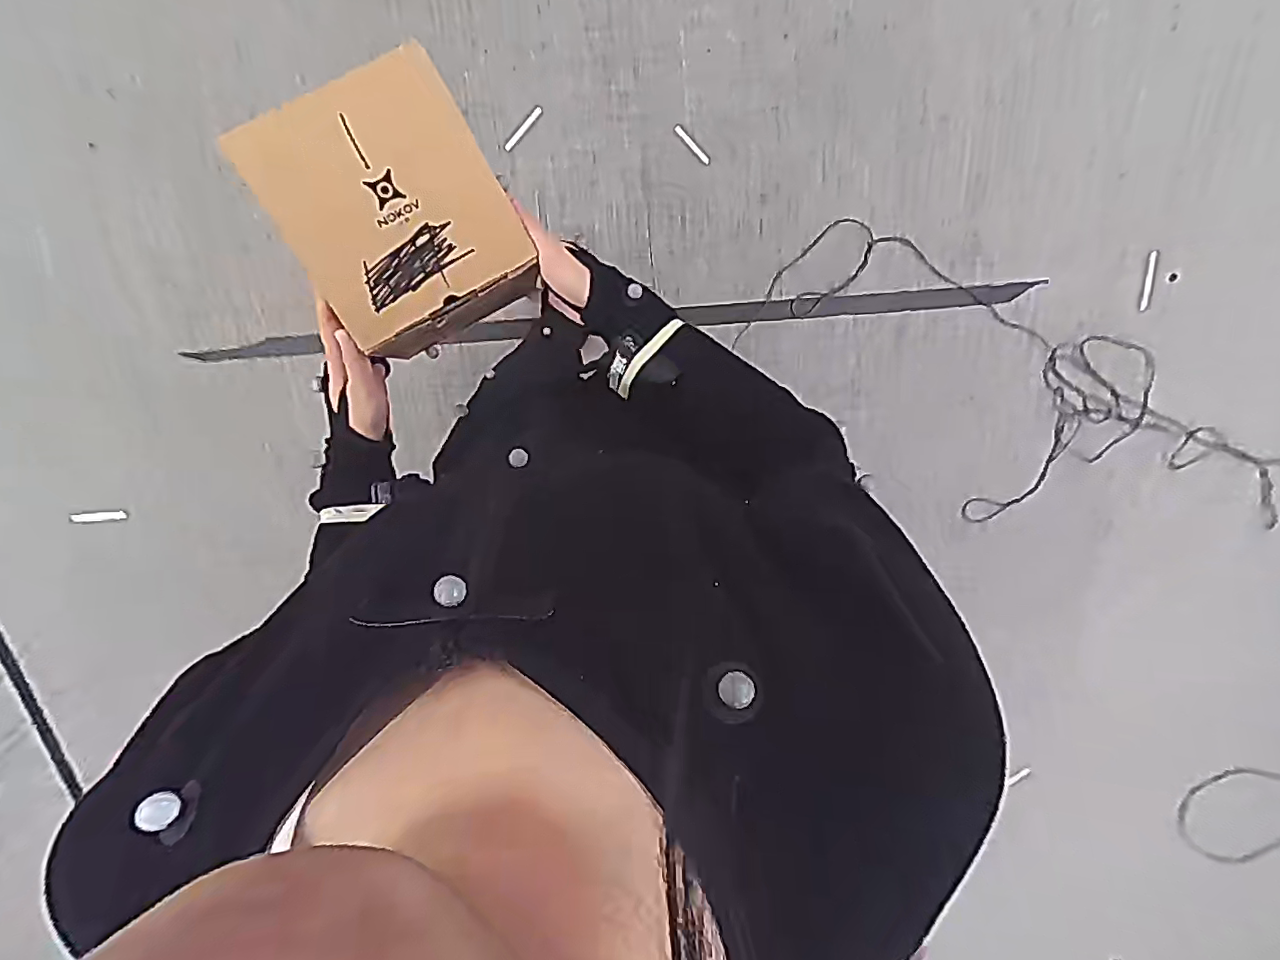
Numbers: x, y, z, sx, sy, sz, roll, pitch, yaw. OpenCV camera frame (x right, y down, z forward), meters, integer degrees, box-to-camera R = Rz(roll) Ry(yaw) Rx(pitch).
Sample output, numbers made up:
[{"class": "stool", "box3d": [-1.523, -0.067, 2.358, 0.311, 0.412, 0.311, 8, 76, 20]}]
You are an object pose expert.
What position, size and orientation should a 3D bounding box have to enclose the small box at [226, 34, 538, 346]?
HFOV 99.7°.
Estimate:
[{"class": "small box", "box3d": [-0.206, -0.235, 0.493, 0.168, 0.176, 0.179, -30, 105, -6]}]
